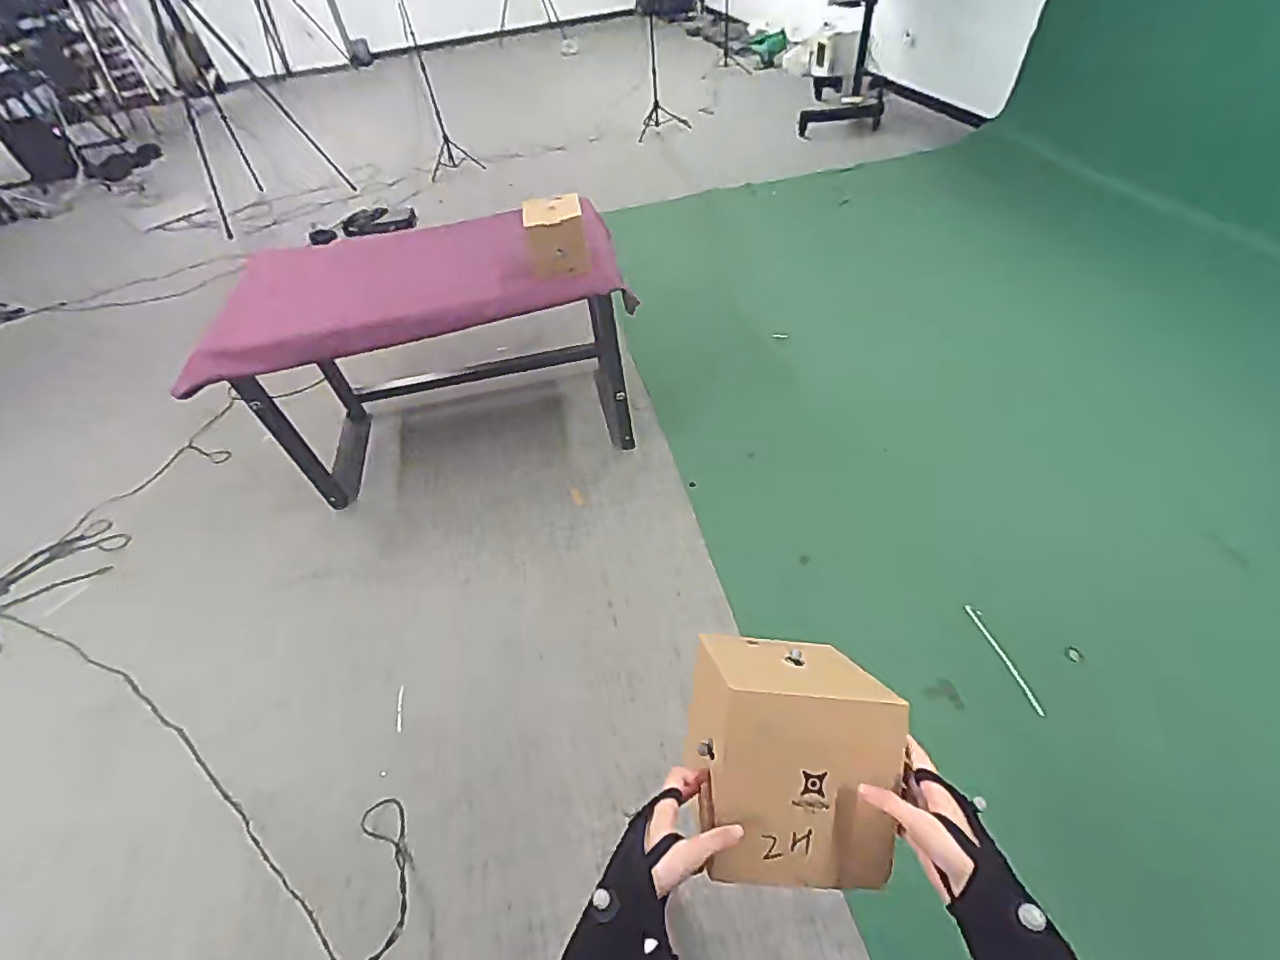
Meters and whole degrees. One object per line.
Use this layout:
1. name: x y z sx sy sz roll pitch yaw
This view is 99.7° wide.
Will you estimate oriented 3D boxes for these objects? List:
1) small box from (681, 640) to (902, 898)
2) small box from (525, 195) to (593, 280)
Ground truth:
1. small box: 0.139 0.277 0.557 0.168 0.176 0.179 7 90 -3
2. small box: -0.236 -0.708 1.596 0.168 0.176 0.179 -10 50 0
